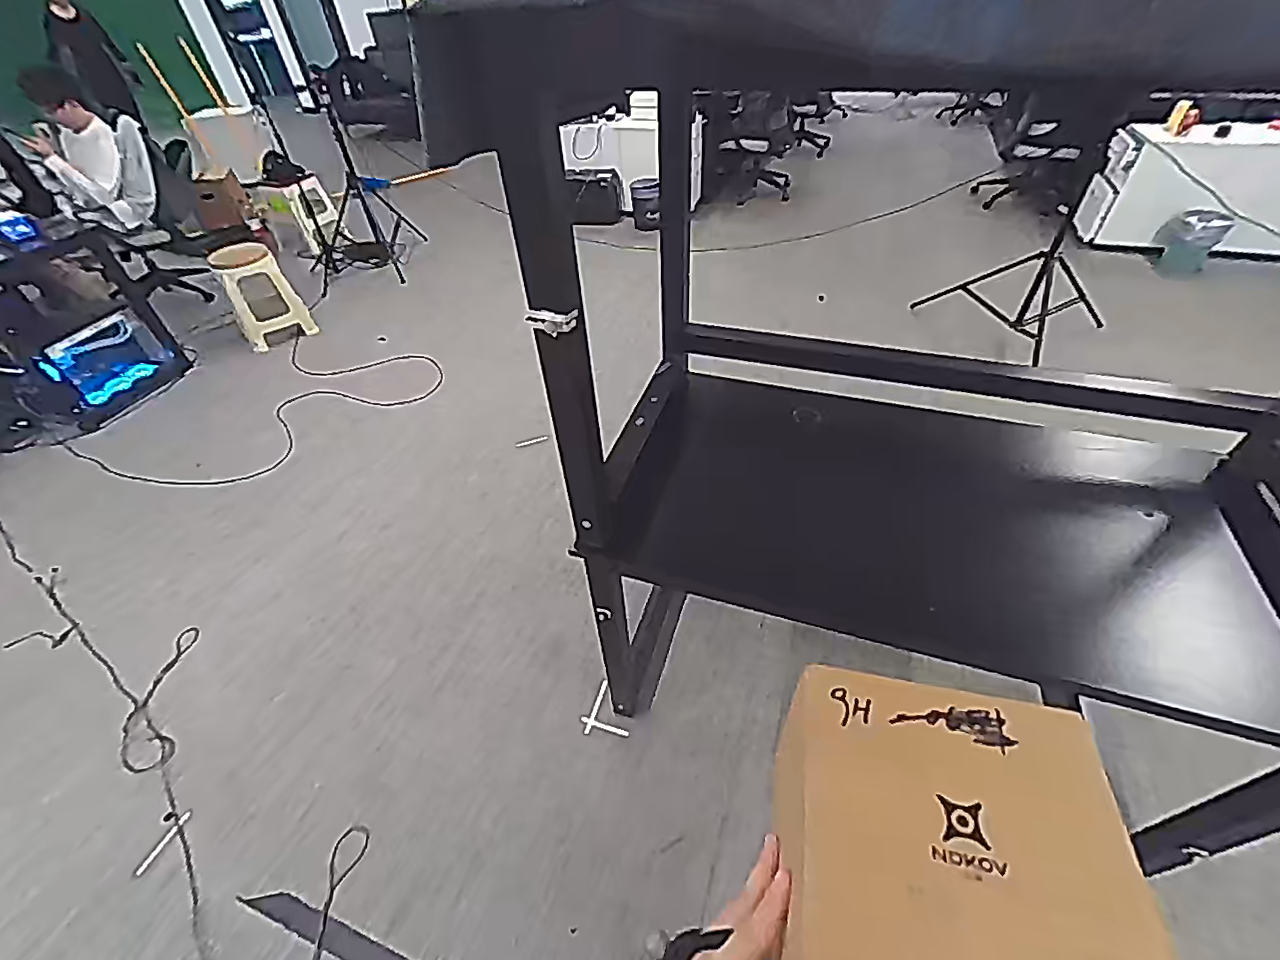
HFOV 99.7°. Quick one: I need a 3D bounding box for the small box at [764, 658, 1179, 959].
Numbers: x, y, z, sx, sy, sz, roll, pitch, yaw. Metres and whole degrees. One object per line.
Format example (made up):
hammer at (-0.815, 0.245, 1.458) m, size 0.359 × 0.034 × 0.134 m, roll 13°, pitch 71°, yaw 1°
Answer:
small box at (0.173, 0.243, 0.334) m, size 0.168 × 0.176 × 0.179 m, roll 8°, pitch 44°, yaw 11°
